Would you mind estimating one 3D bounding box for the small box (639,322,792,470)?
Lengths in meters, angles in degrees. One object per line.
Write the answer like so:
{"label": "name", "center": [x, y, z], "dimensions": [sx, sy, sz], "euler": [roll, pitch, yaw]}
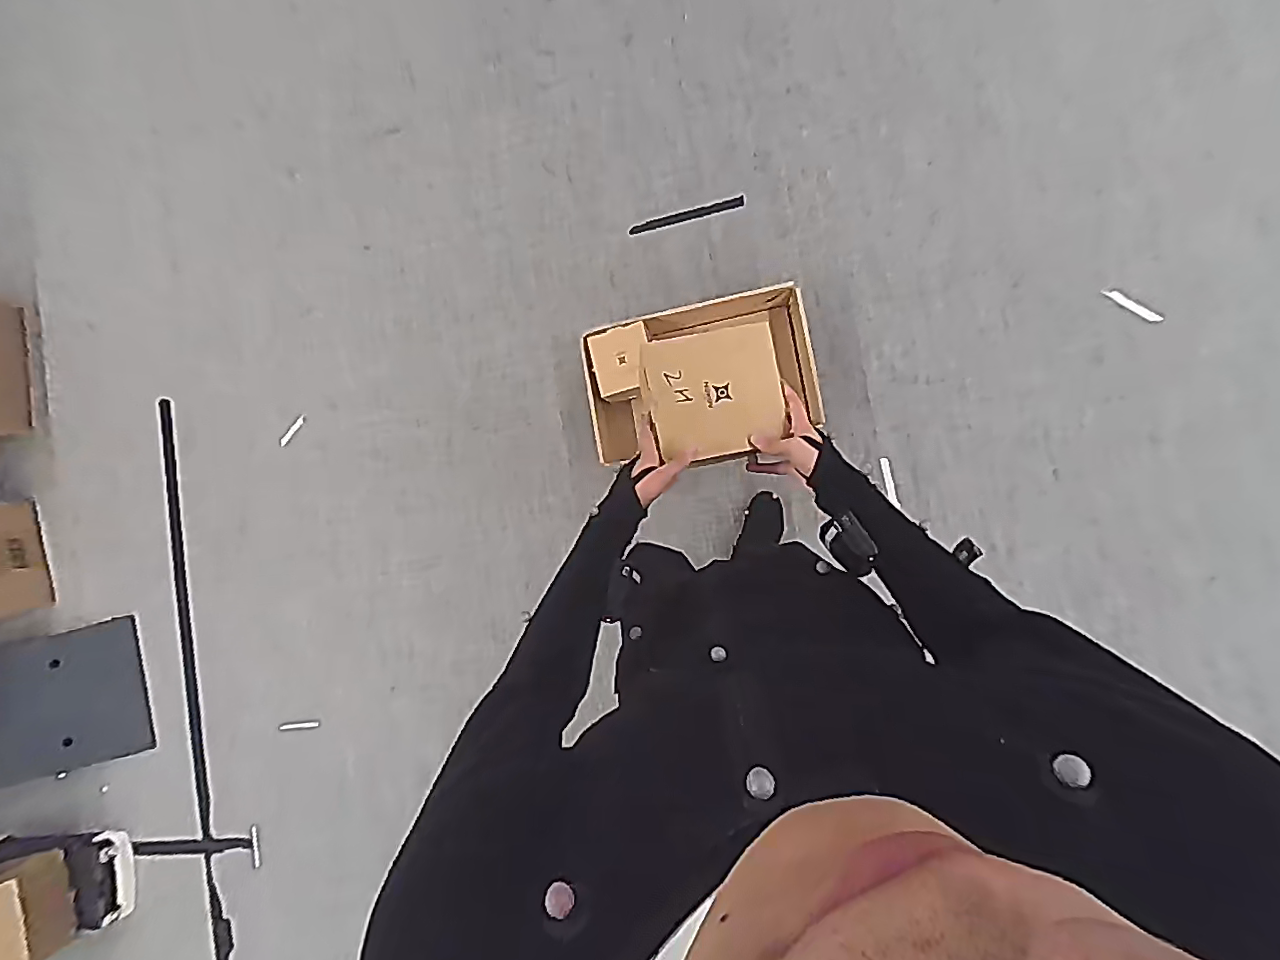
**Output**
{"label": "small box", "center": [0.097, -0.110, 0.777], "dimensions": [0.179, 0.176, 0.168], "euler": [-10, 87, -1]}
